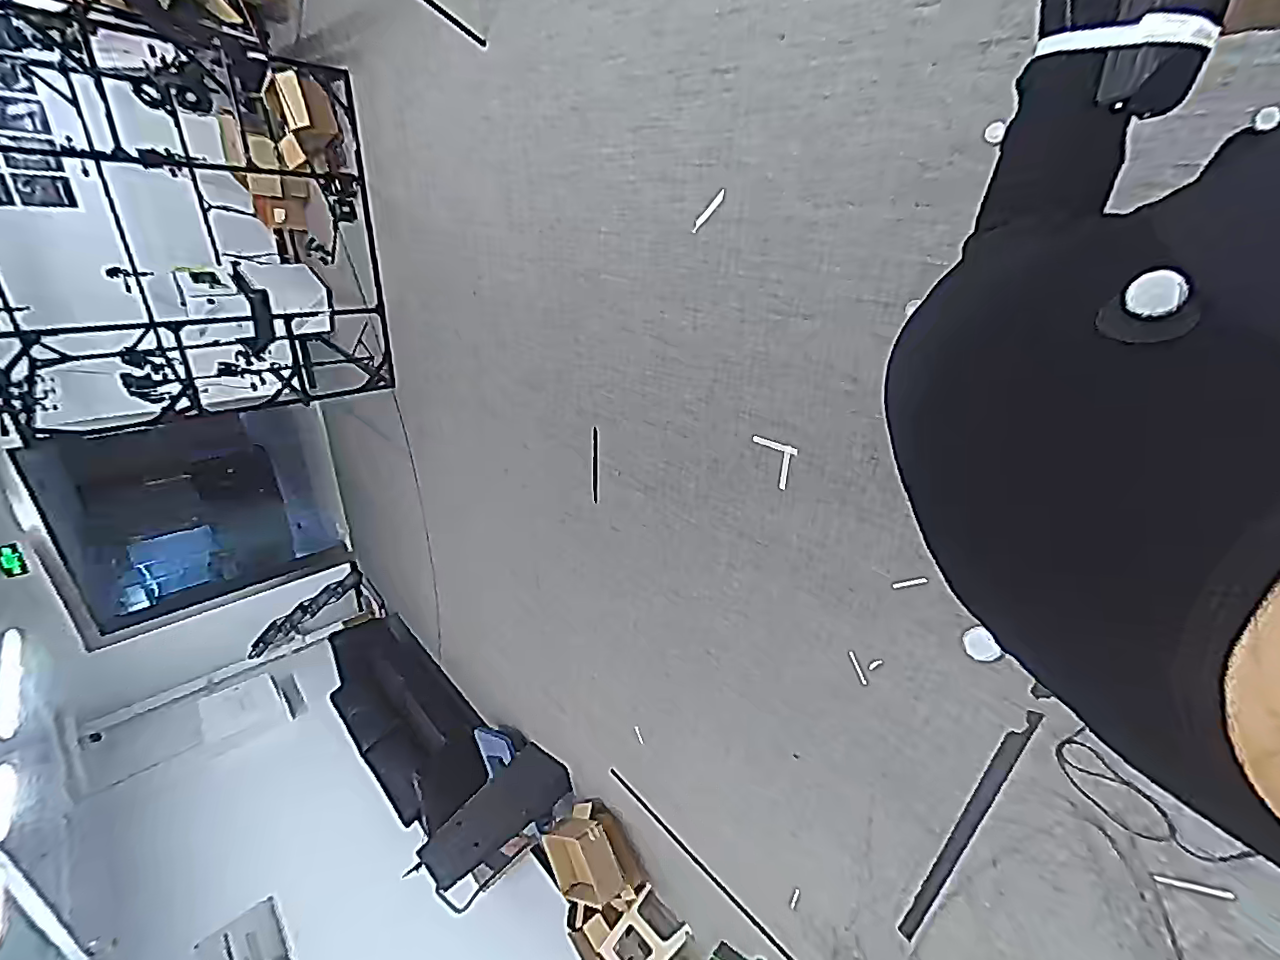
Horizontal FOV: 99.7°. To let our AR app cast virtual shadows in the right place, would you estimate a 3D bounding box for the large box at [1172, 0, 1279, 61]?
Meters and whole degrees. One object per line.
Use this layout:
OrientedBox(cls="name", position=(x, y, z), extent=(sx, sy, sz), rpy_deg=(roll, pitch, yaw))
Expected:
OrientedBox(cls="large box", position=(0.552, -0.424, 0.229), extent=(0.408, 0.320, 0.320), rpy_deg=(23, 127, 38))
